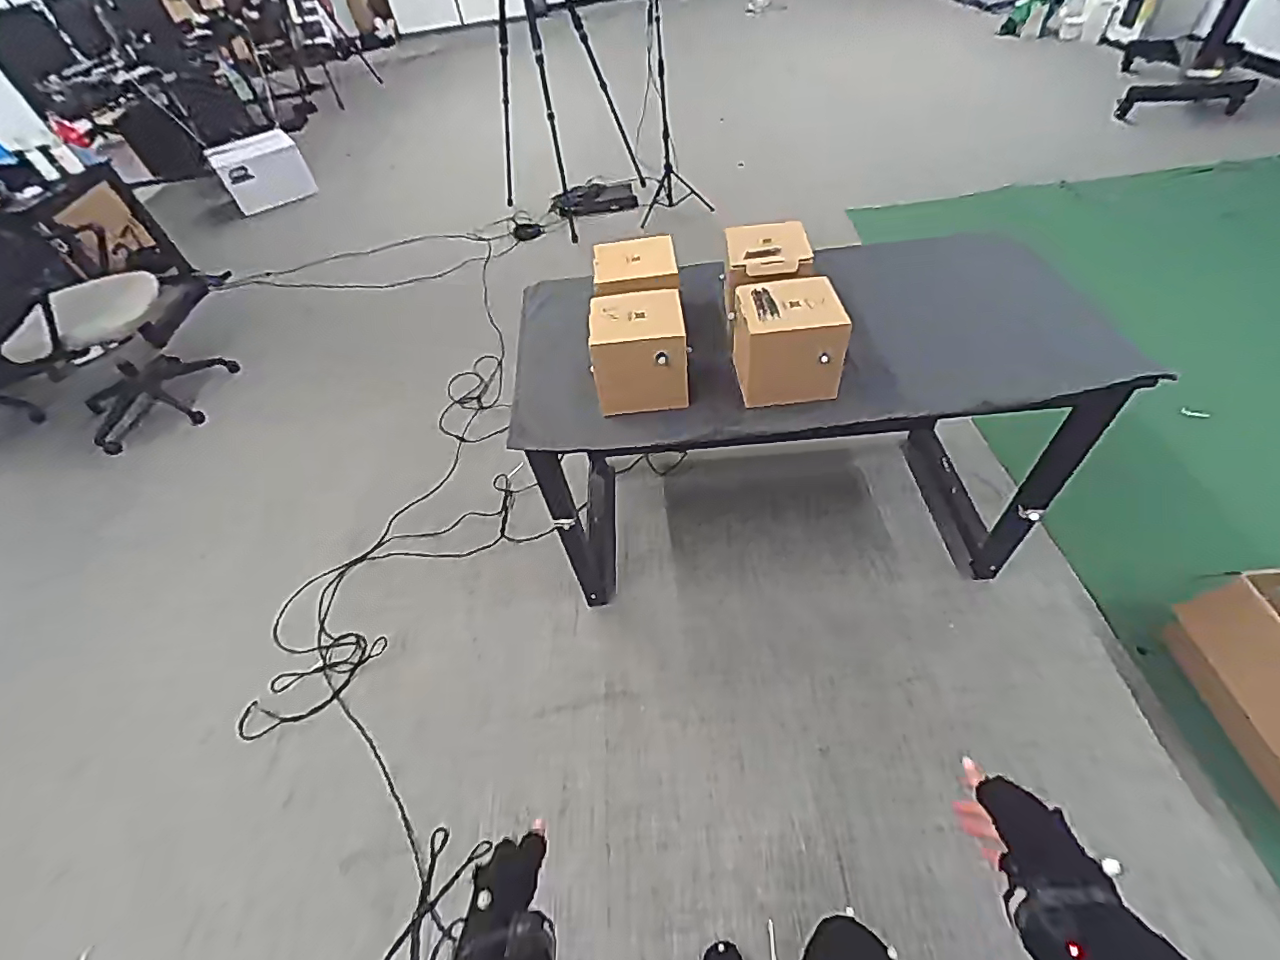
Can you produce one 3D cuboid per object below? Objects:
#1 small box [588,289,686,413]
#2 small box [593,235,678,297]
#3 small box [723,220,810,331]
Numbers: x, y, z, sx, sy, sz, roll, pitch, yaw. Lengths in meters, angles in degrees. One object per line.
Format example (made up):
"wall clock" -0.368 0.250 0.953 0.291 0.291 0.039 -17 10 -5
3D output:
"small box" -0.001 -0.250 1.063 0.179 0.176 0.168 -6 48 3
"small box" -0.006 -0.418 1.211 0.179 0.176 0.168 -7 50 3
"small box" 0.270 -0.440 1.186 0.168 0.176 0.179 -3 49 6
